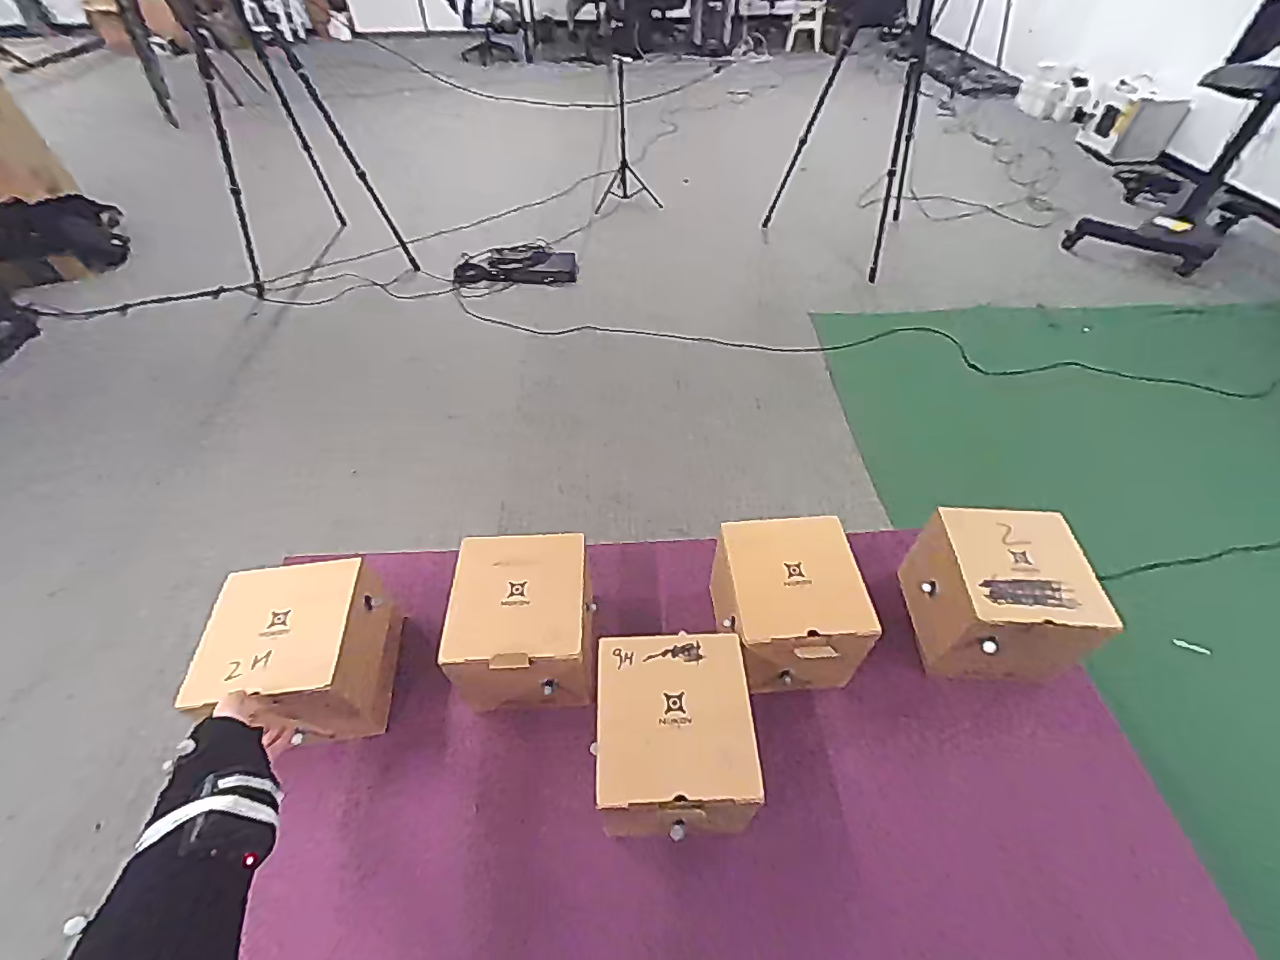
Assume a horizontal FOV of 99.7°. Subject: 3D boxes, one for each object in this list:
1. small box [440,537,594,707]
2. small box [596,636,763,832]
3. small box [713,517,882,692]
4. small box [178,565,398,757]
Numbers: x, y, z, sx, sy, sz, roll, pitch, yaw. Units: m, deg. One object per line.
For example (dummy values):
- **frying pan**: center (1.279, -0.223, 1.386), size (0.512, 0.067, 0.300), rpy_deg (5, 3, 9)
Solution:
- **small box**: center (-0.150, 0.197, 0.732), size (0.168, 0.176, 0.179), rpy_deg (-1, 48, -1)
- **small box**: center (0.039, 0.302, 0.634), size (0.168, 0.176, 0.179), rpy_deg (-2, 49, -1)
- **small box**: center (0.198, 0.172, 0.746), size (0.168, 0.176, 0.179), rpy_deg (-4, 50, -2)
- **small box**: center (-0.433, 0.237, 0.707), size (0.168, 0.176, 0.179), rpy_deg (-6, 49, -6)
